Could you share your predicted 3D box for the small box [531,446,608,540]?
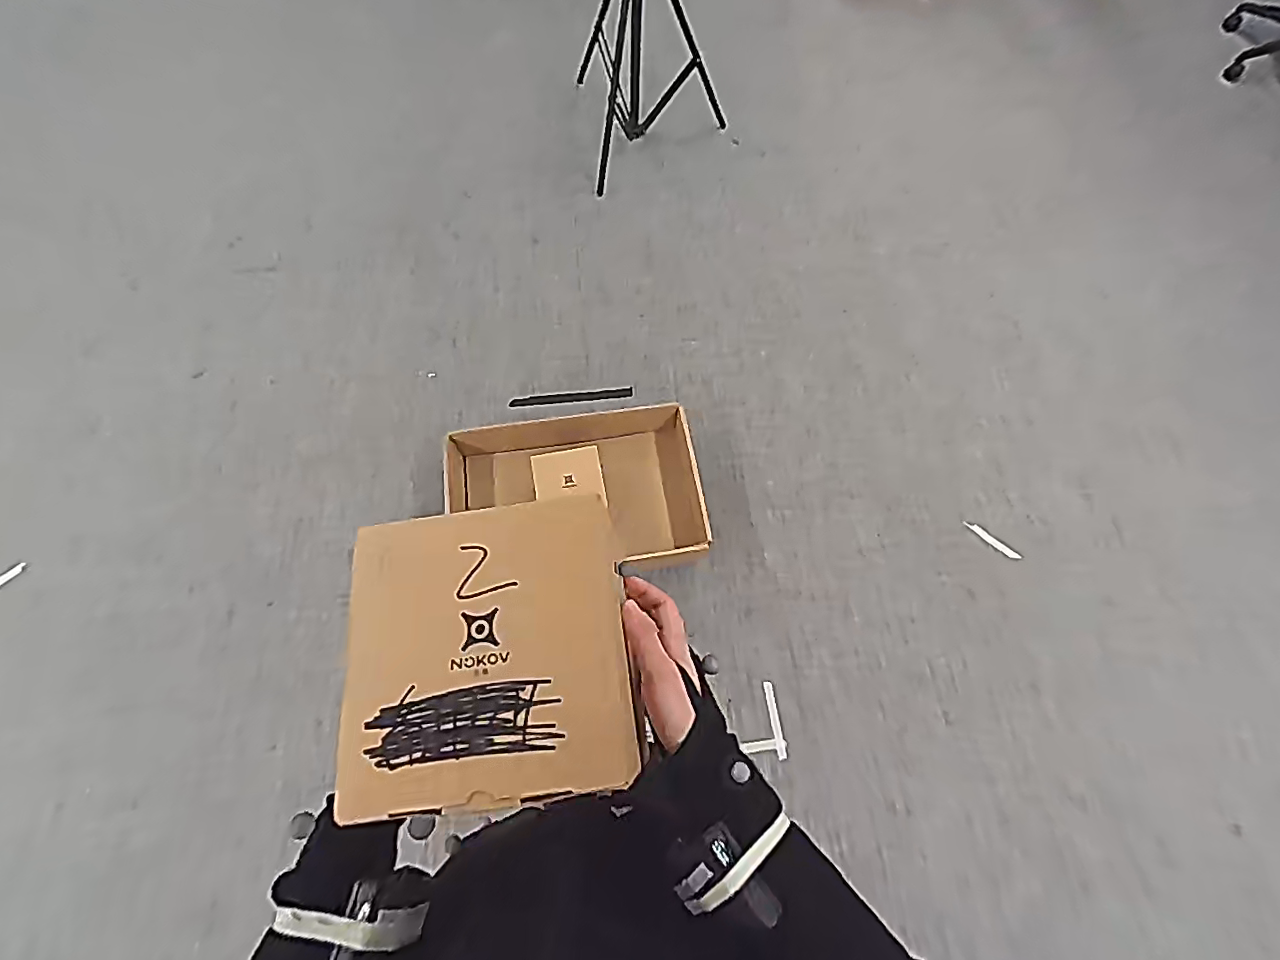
[{"bbox_3d":[-0.175,0.037,1.370,0.168,0.176,0.179,-10,69,-5],"label":"small box"}]
